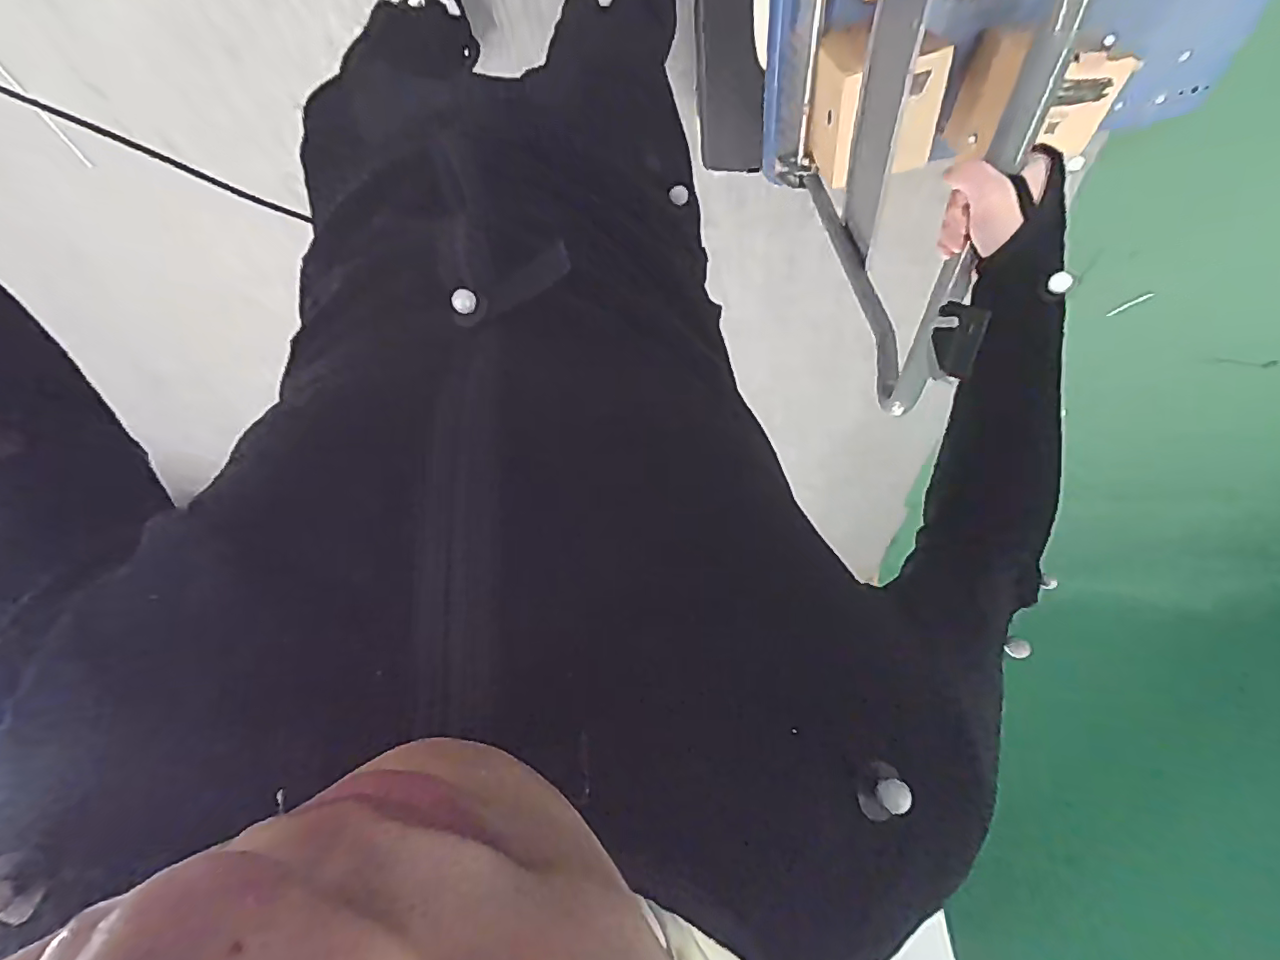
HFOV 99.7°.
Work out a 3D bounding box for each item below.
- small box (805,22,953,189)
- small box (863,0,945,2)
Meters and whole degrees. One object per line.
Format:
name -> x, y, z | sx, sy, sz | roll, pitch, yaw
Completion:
small box -> 0.388, -0.637, 0.916 | 0.168, 0.176, 0.179 | -11, 146, 5
small box -> 0.383, -0.774, 0.723 | 0.179, 0.176, 0.168 | -5, 146, -3
